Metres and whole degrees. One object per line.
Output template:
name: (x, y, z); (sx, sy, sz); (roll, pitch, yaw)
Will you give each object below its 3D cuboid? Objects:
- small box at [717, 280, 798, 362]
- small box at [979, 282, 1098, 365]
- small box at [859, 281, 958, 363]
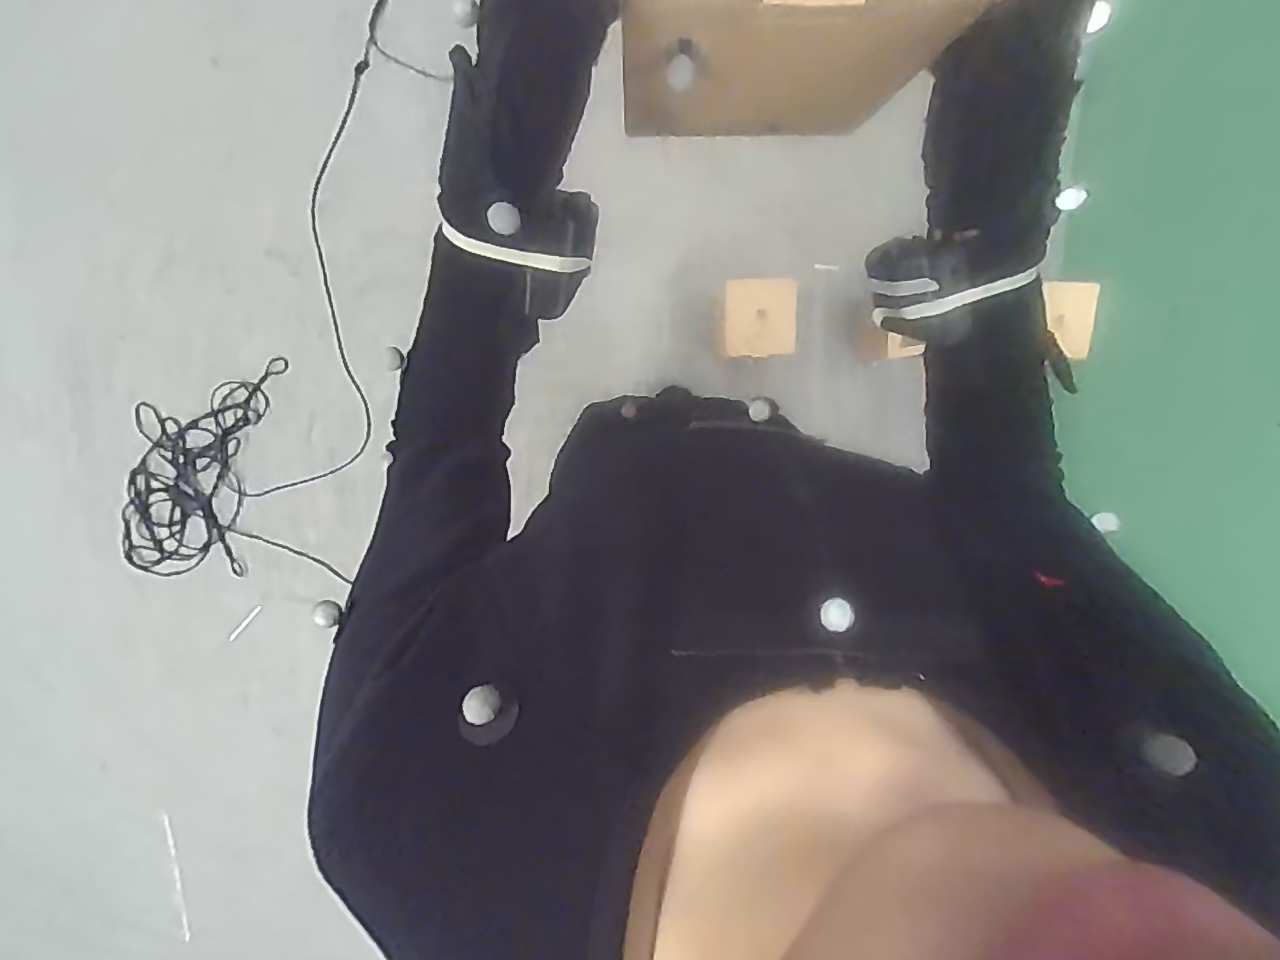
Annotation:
small box: (0.283, -0.386, 1.335); (0.168, 0.176, 0.179); (-1, 100, 1)
small box: (0.982, -0.384, 1.349); (0.168, 0.176, 0.179); (2, 100, 0)
small box: (0.658, -0.385, 1.343); (0.168, 0.176, 0.179); (-4, 99, 0)
